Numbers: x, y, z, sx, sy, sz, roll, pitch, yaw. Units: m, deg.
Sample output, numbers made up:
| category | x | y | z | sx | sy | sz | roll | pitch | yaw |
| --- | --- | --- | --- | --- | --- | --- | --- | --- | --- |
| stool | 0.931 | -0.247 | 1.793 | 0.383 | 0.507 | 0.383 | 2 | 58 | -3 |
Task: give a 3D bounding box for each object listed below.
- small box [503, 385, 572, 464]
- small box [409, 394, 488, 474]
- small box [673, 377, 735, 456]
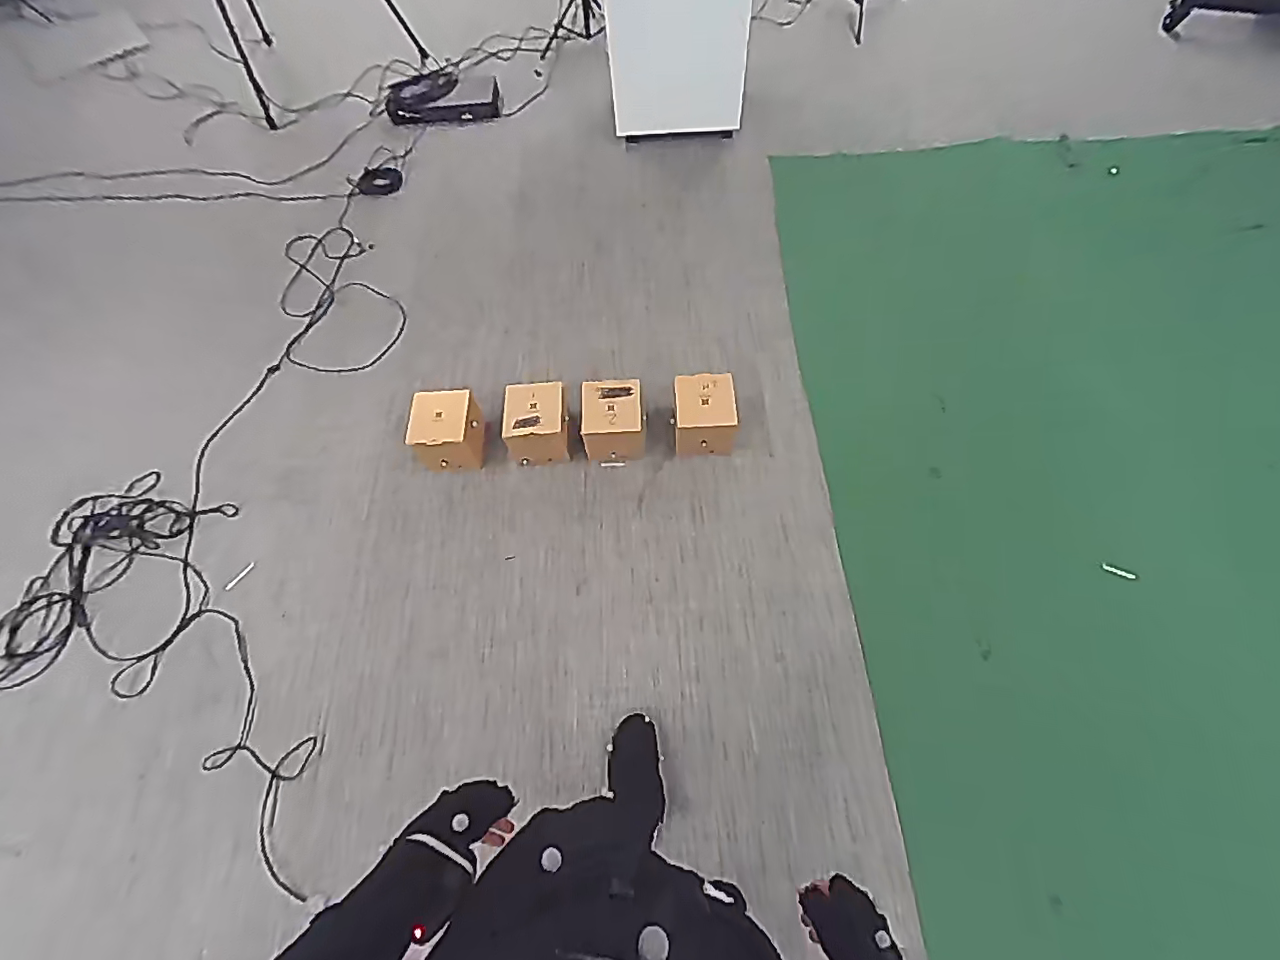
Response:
| category | x | y | z | sx | sy | sz | roll | pitch | yaw |
| --- | --- | --- | --- | --- | --- | --- | --- | --- | --- |
| small box | -0.297 | -0.156 | 1.602 | 0.168 | 0.176 | 0.179 | -4 | 62 | 3 |
| small box | -0.562 | -0.135 | 1.612 | 0.168 | 0.176 | 0.179 | -3 | 63 | 3 |
| small box | 0.183 | -0.179 | 1.584 | 0.168 | 0.176 | 0.179 | -2 | 63 | 2 |
